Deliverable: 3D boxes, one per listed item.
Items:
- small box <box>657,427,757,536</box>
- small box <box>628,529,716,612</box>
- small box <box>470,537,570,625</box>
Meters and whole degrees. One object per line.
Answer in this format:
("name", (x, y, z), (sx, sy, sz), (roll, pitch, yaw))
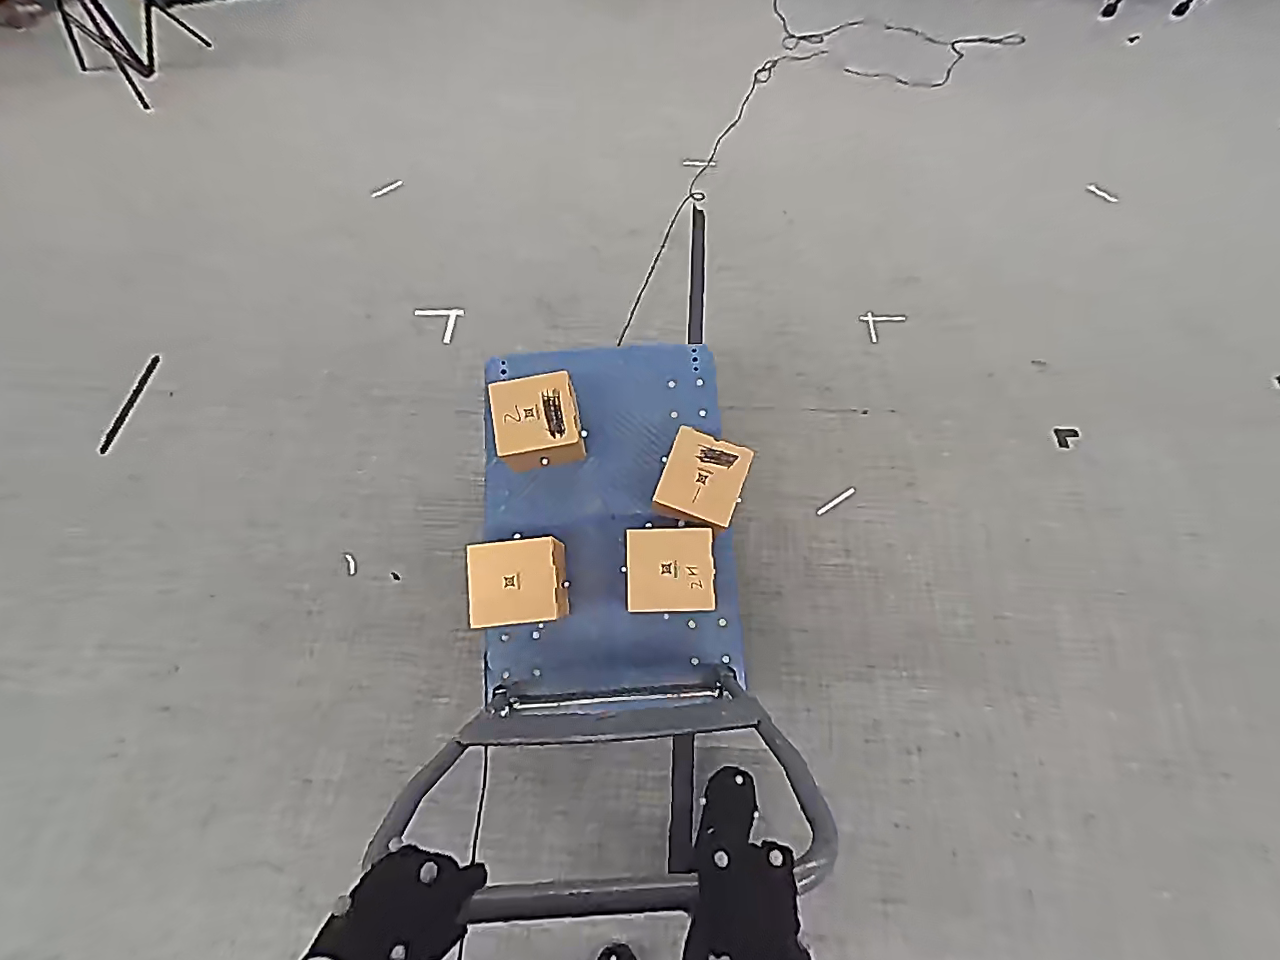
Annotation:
("small box", (0.140, 0.011, 1.195), (0.168, 0.176, 0.179), (21, 80, 6))
("small box", (0.065, 0.197, 1.157), (0.179, 0.176, 0.168), (-1, 78, 1))
("small box", (-0.251, 0.219, 1.158), (0.179, 0.176, 0.168), (-5, 78, -2))
